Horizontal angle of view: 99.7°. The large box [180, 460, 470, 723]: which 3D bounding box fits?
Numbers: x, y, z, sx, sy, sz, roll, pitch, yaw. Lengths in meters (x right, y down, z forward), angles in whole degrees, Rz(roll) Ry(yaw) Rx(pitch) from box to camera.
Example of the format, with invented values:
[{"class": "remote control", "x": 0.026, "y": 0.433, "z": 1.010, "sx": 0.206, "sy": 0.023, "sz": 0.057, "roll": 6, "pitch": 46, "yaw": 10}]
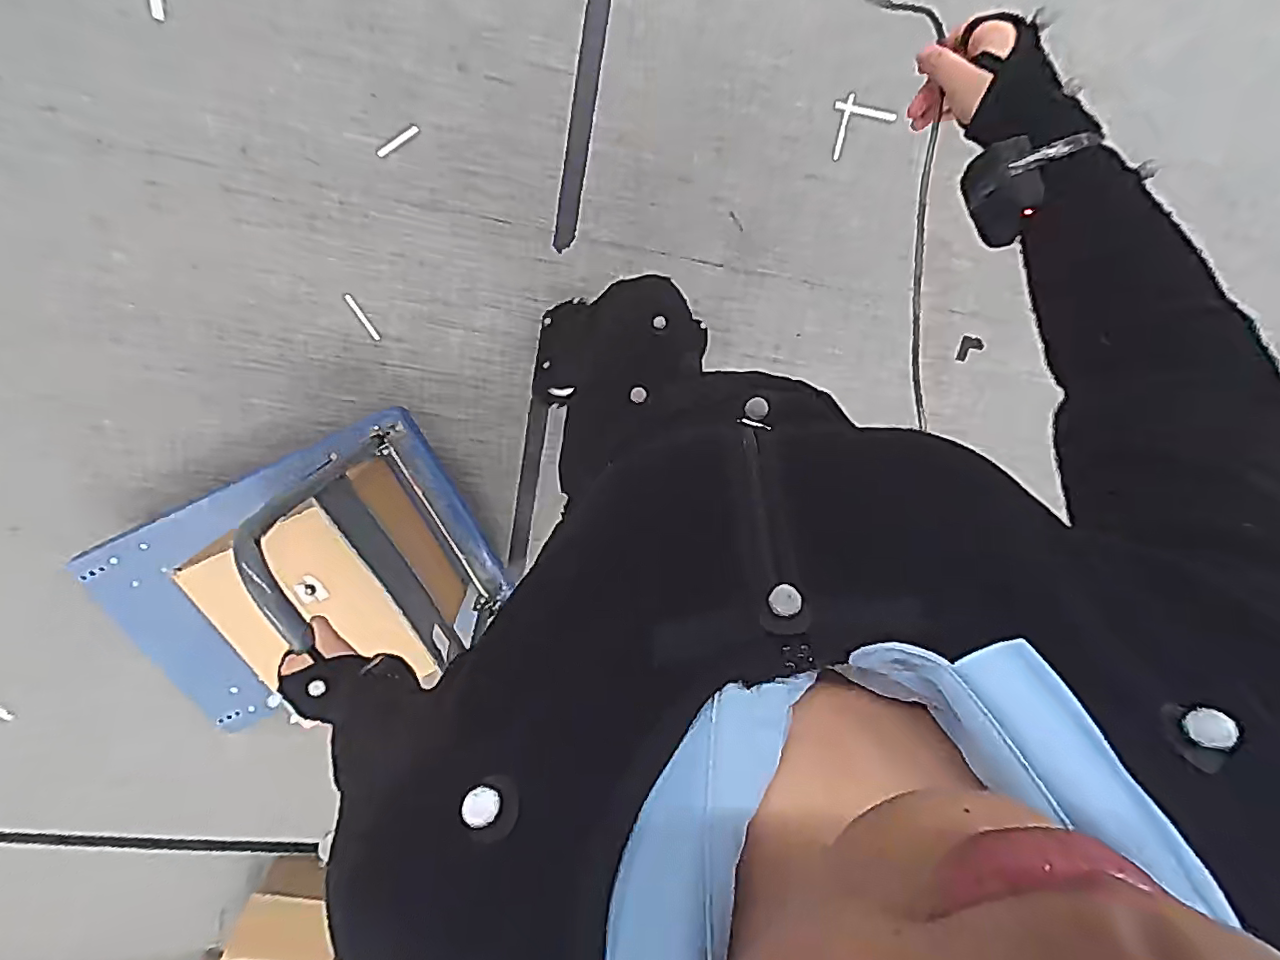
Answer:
[{"class": "large box", "x": -0.632, "y": 0.226, "z": 1.178, "sx": 0.320, "sy": 0.320, "sz": 0.408, "roll": -25, "pitch": 108, "yaw": 2}]
